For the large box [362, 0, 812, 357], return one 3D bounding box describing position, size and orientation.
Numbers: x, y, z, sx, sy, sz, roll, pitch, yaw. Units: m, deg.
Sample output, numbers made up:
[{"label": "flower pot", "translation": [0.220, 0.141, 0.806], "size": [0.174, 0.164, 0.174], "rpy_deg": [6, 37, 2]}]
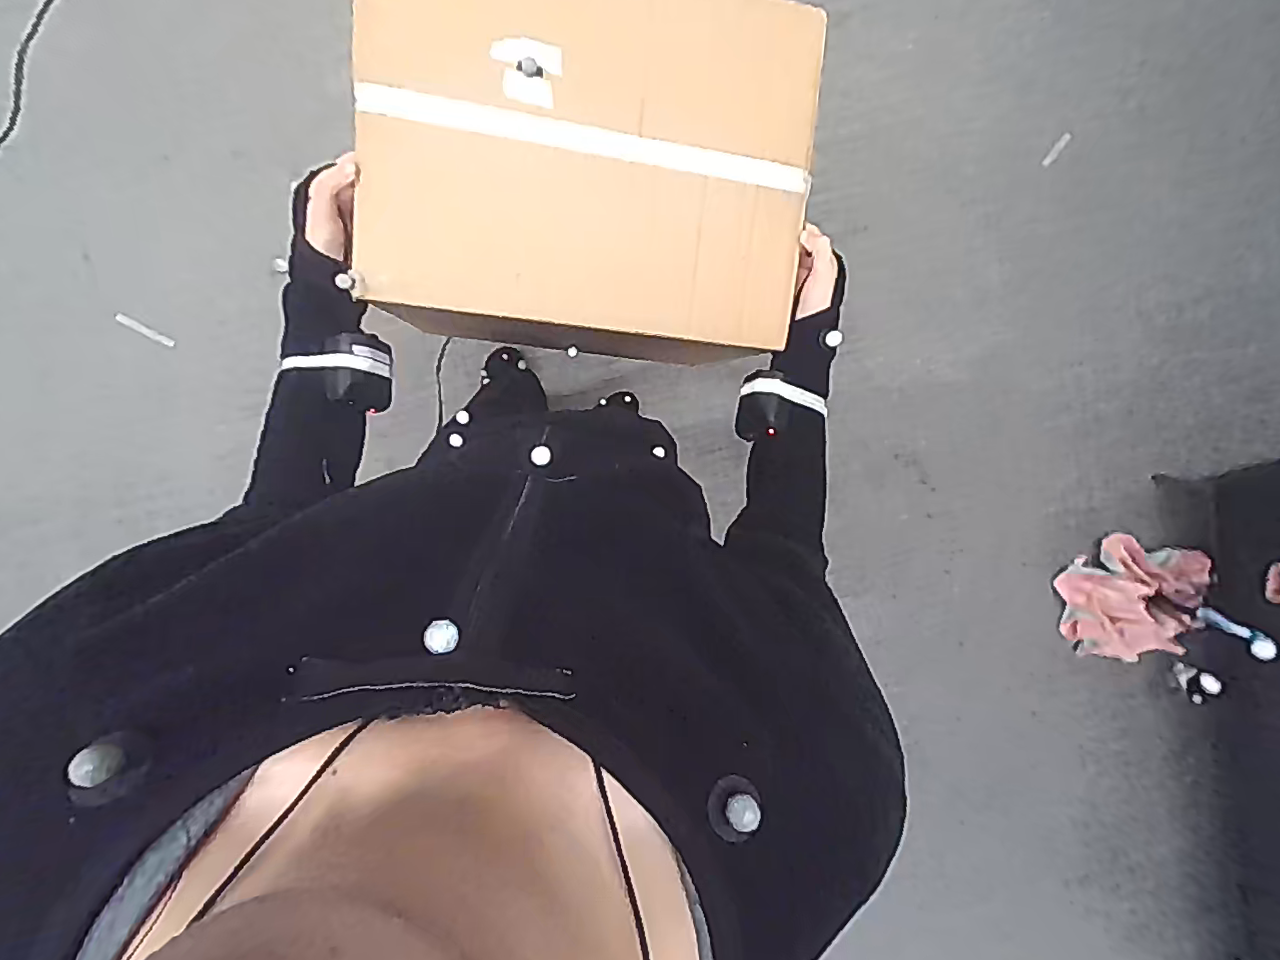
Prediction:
[{"label": "large box", "translation": [-0.067, -0.321, 0.640], "size": [0.408, 0.320, 0.320], "rpy_deg": [3, 98, -11]}]
